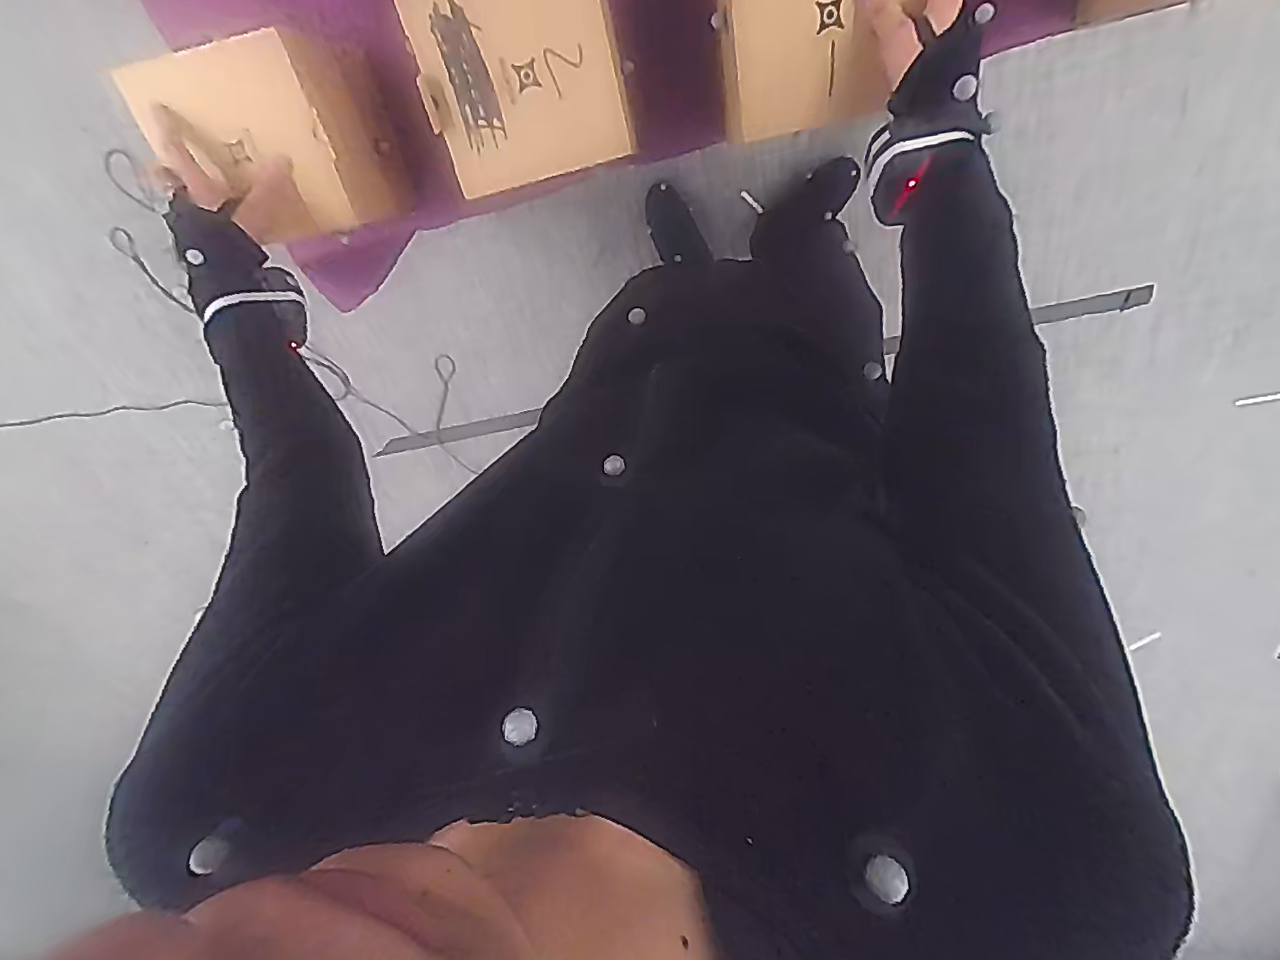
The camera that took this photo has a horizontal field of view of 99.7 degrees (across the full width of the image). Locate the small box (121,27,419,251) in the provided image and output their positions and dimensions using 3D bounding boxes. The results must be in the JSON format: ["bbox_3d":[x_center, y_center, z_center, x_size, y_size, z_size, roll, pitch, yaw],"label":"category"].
[{"bbox_3d":[-0.381,-0.365,0.597,0.179,0.176,0.168,-8,122,6],"label":"small box"}]
